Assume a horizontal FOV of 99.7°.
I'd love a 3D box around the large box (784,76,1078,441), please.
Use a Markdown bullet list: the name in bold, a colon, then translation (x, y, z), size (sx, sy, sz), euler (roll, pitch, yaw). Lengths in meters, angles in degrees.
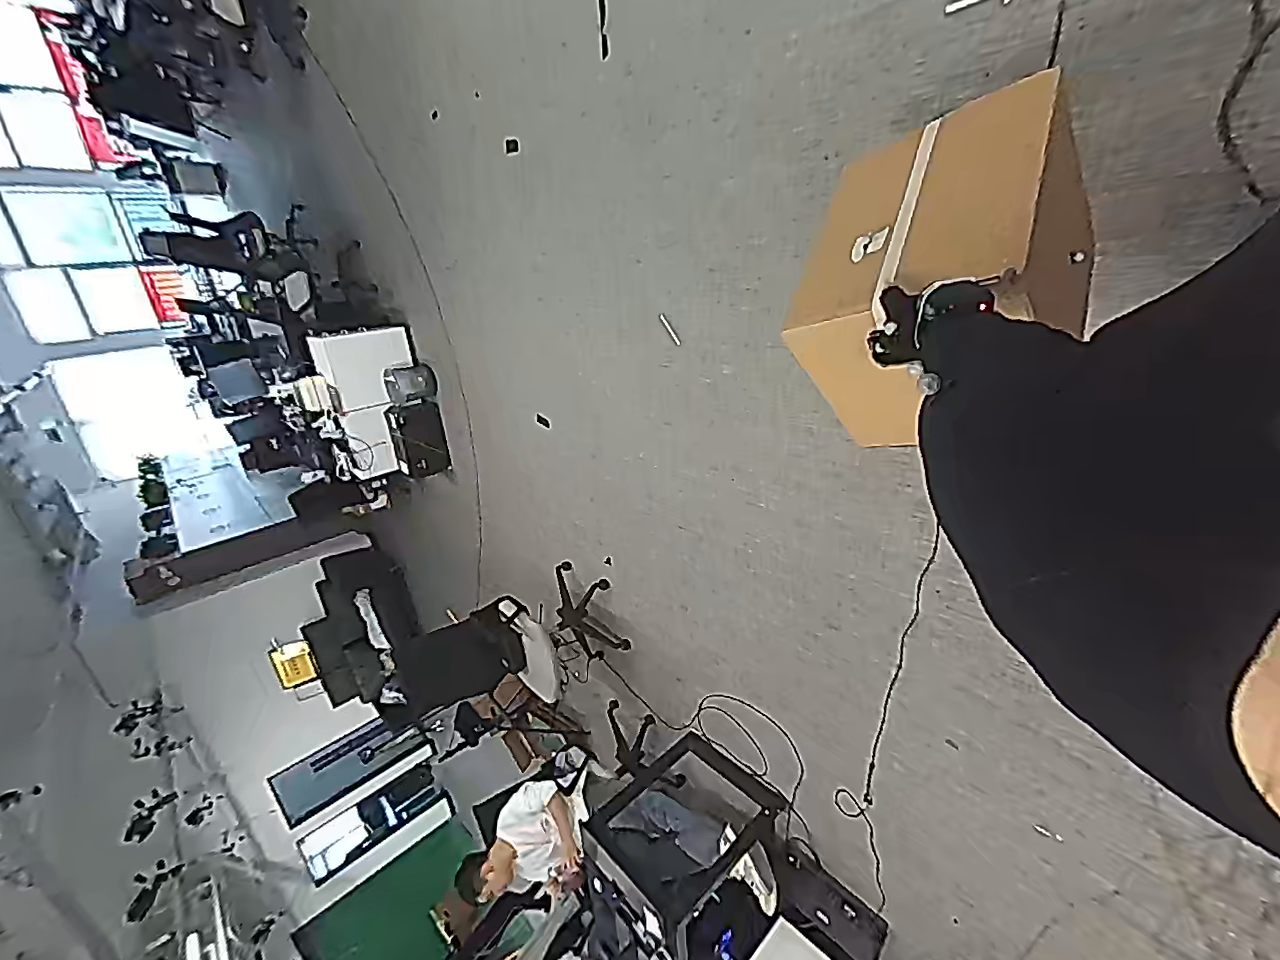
- **large box**: translation (0.486, -0.317, 0.873), size (0.320, 0.408, 0.320), euler (-2, 147, 47)
